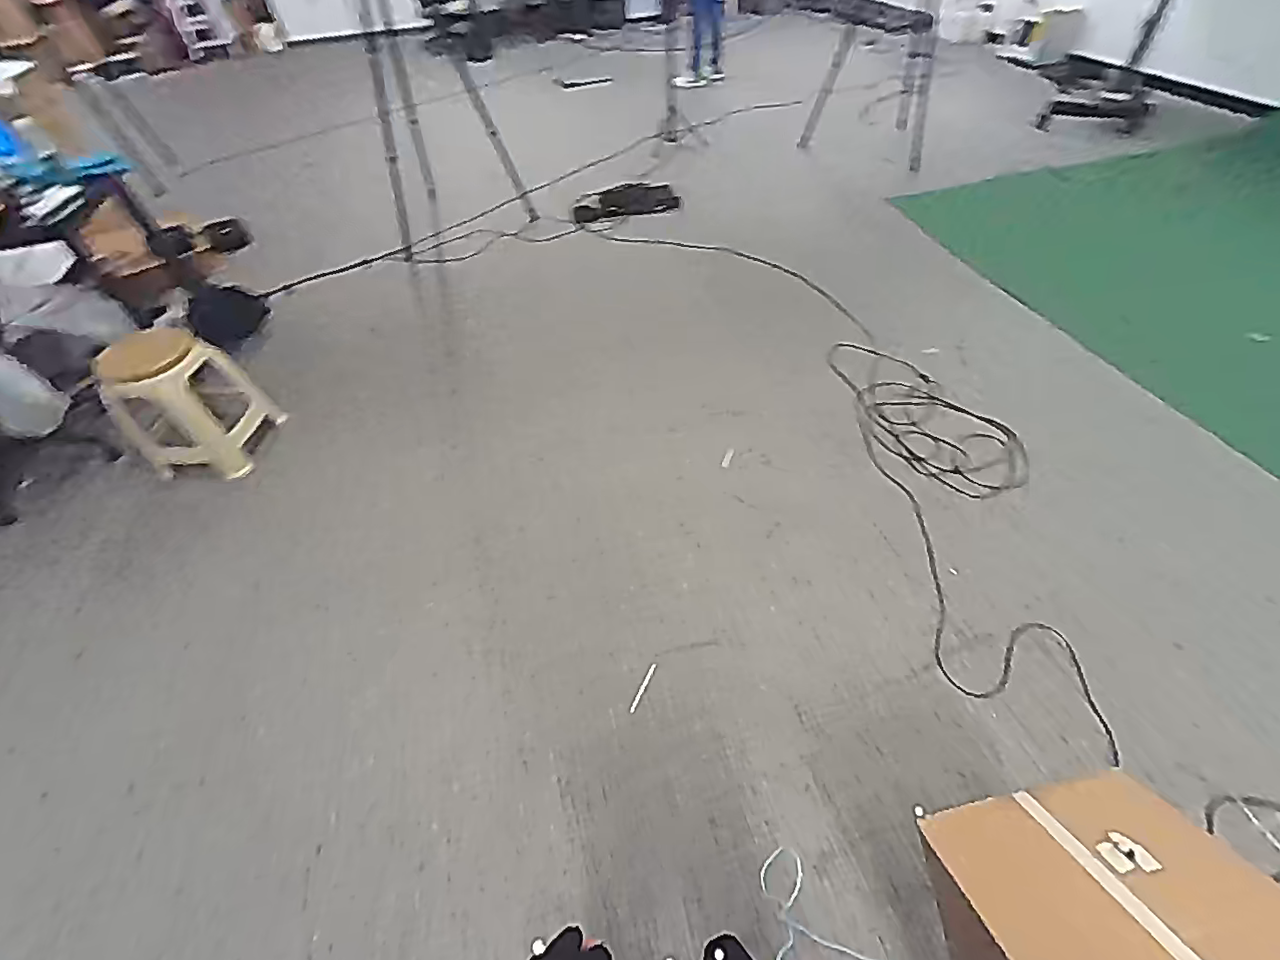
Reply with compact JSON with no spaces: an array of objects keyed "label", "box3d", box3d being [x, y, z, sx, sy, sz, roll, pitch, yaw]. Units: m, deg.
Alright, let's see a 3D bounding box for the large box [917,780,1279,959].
[{"label":"large box","box3d":[0.605,0.652,0.633,0.320,0.320,0.408,-15,6,3]}]
